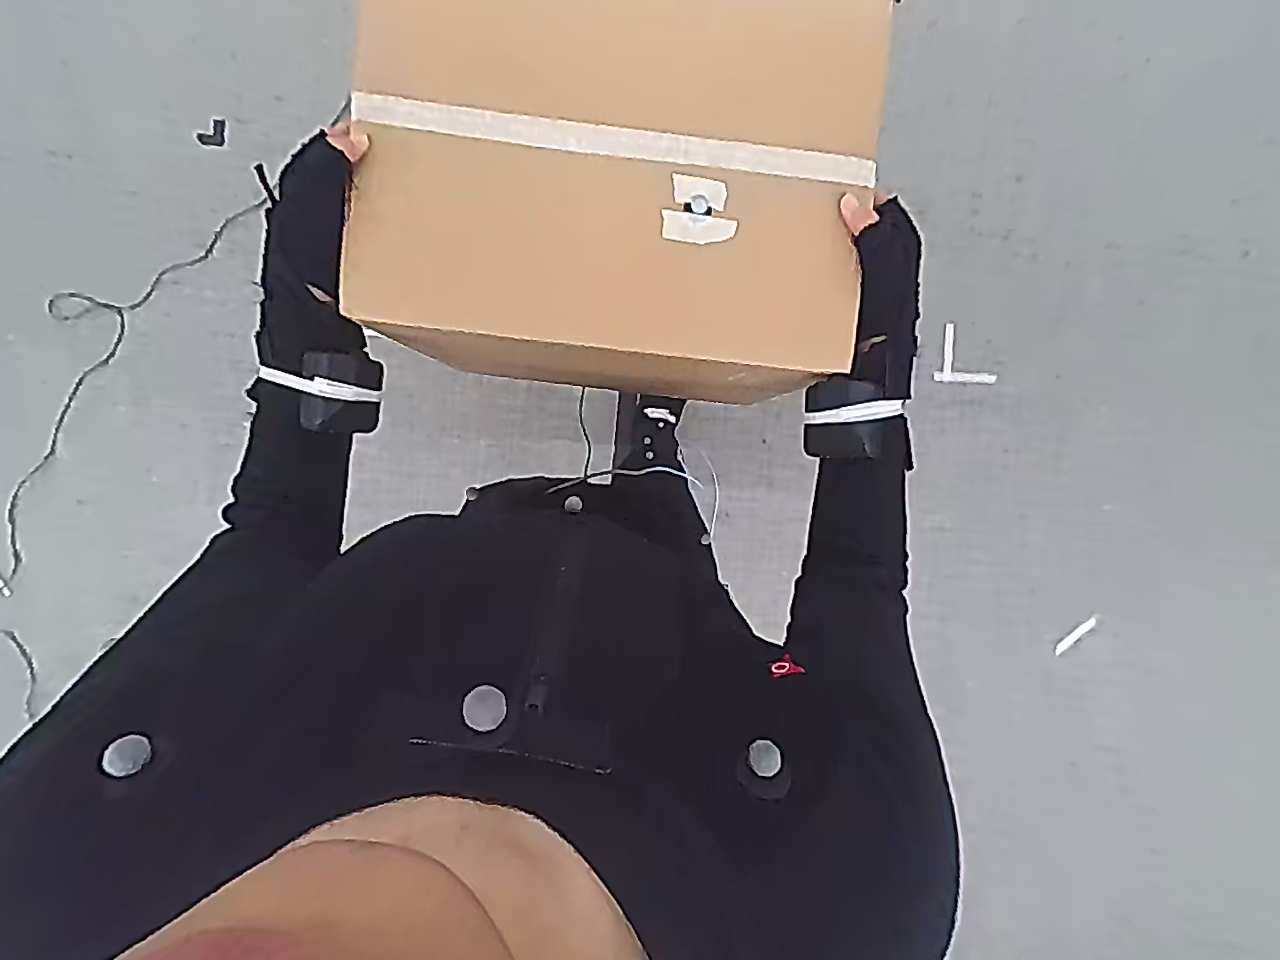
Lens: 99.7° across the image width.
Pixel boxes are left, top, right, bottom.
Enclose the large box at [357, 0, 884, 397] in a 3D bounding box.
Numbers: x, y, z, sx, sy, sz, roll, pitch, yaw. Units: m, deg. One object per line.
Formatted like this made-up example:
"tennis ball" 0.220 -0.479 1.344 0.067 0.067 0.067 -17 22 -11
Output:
"large box" -0.024 -0.272 0.576 0.408 0.320 0.320 6 94 -4
